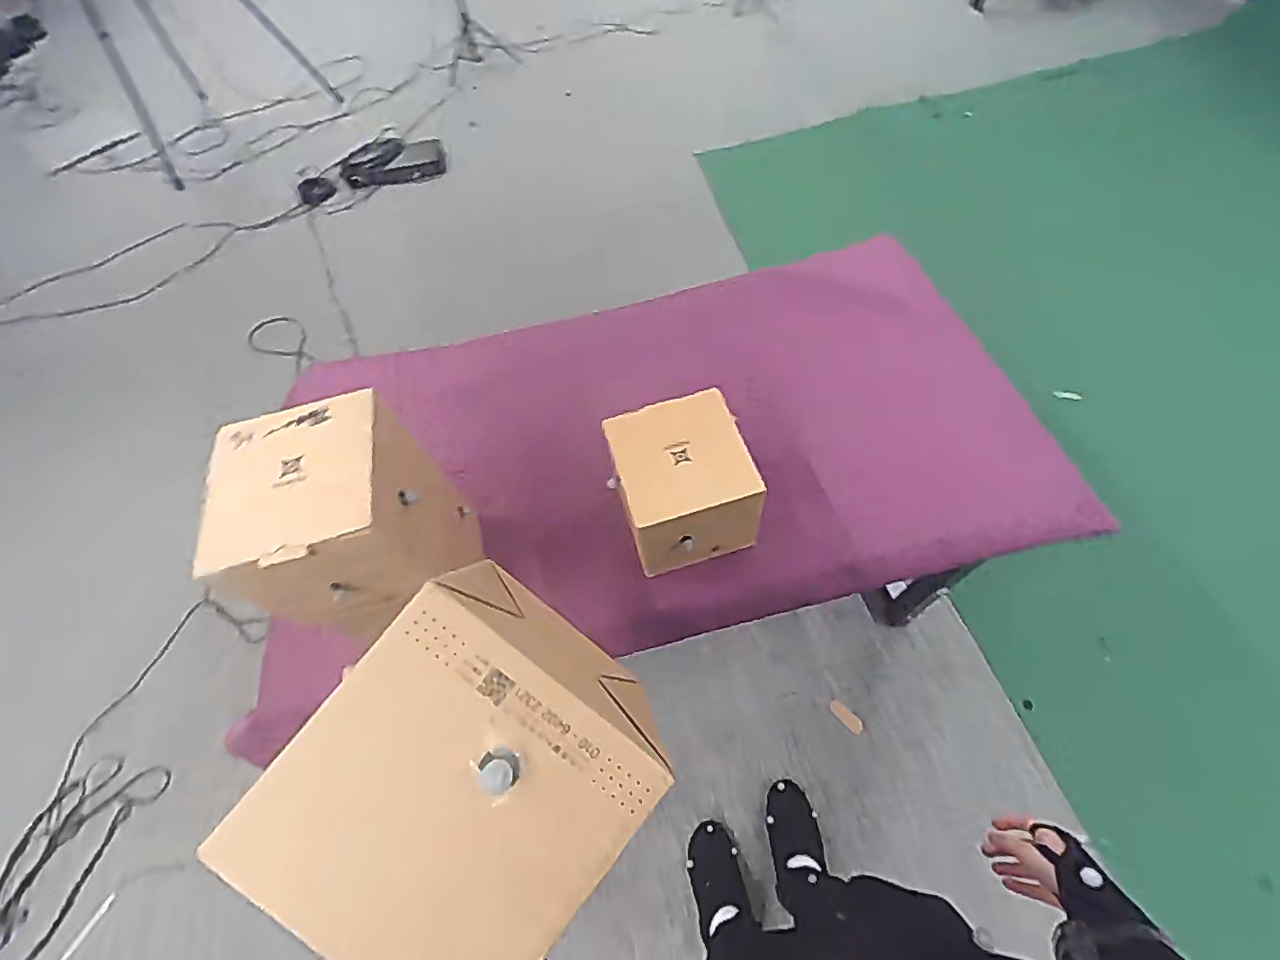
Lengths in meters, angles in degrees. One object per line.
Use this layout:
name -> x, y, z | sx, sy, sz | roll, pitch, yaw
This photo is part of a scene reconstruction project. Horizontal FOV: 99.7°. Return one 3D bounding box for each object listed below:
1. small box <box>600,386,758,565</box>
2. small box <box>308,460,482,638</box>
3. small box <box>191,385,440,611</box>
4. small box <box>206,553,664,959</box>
small box -> 0.054, 0.004, 0.758 | 0.168, 0.176, 0.179 | -17, 58, -4
small box -> -0.321, 0.104, 0.738 | 0.168, 0.176, 0.179 | -17, 60, -4
small box -> -0.333, 0.031, 0.592 | 0.168, 0.176, 0.179 | -15, 60, -3
small box -> -0.103, 0.163, 0.352 | 0.168, 0.179, 0.176 | 40, 82, -1
